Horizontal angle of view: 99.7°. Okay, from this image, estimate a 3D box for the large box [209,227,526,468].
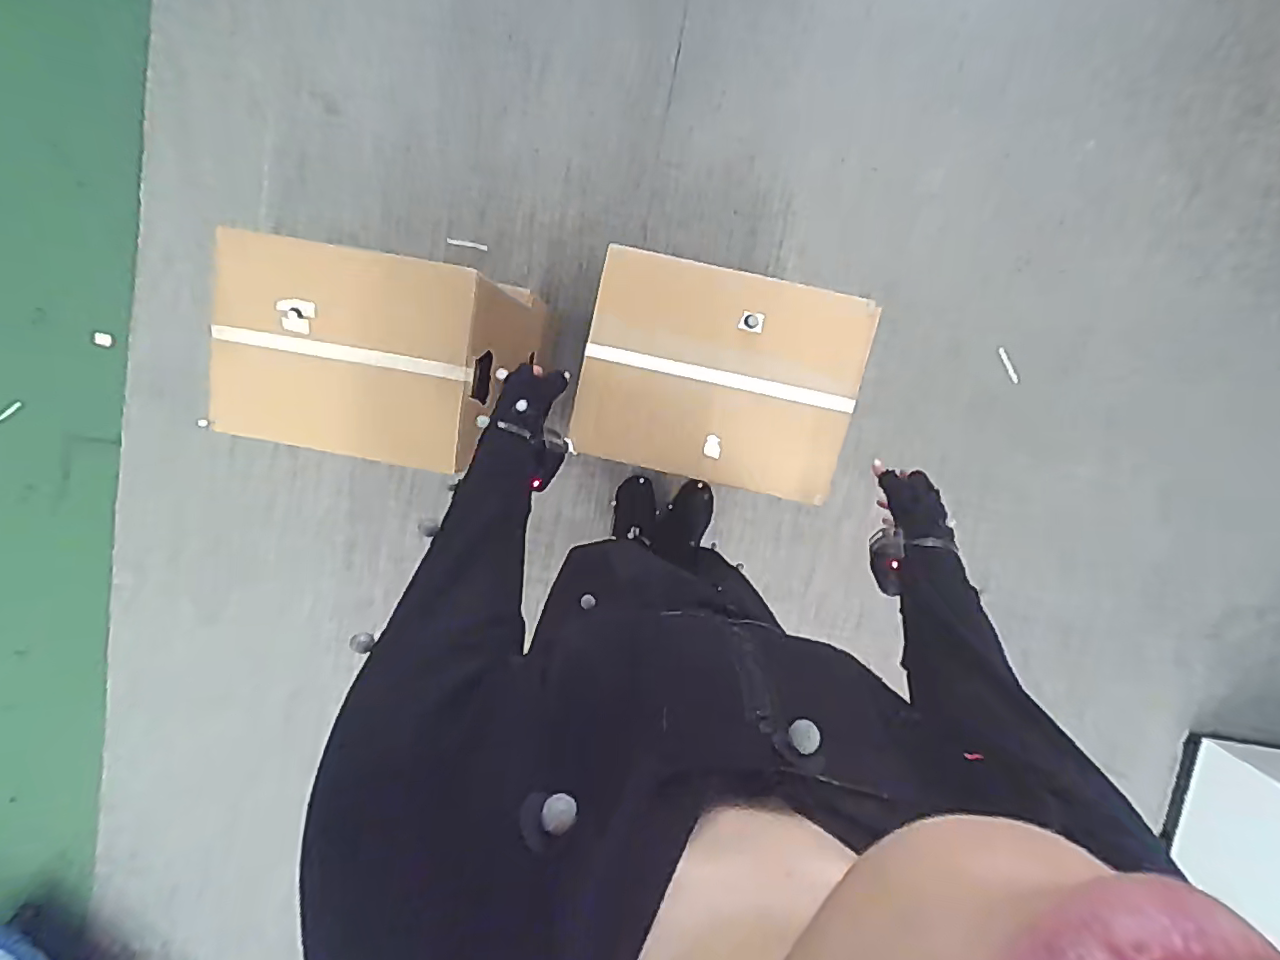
[{"bbox_3d":[-0.450,-0.224,0.969,0.408,0.320,0.320,11,100,2],"label":"large box"}]
